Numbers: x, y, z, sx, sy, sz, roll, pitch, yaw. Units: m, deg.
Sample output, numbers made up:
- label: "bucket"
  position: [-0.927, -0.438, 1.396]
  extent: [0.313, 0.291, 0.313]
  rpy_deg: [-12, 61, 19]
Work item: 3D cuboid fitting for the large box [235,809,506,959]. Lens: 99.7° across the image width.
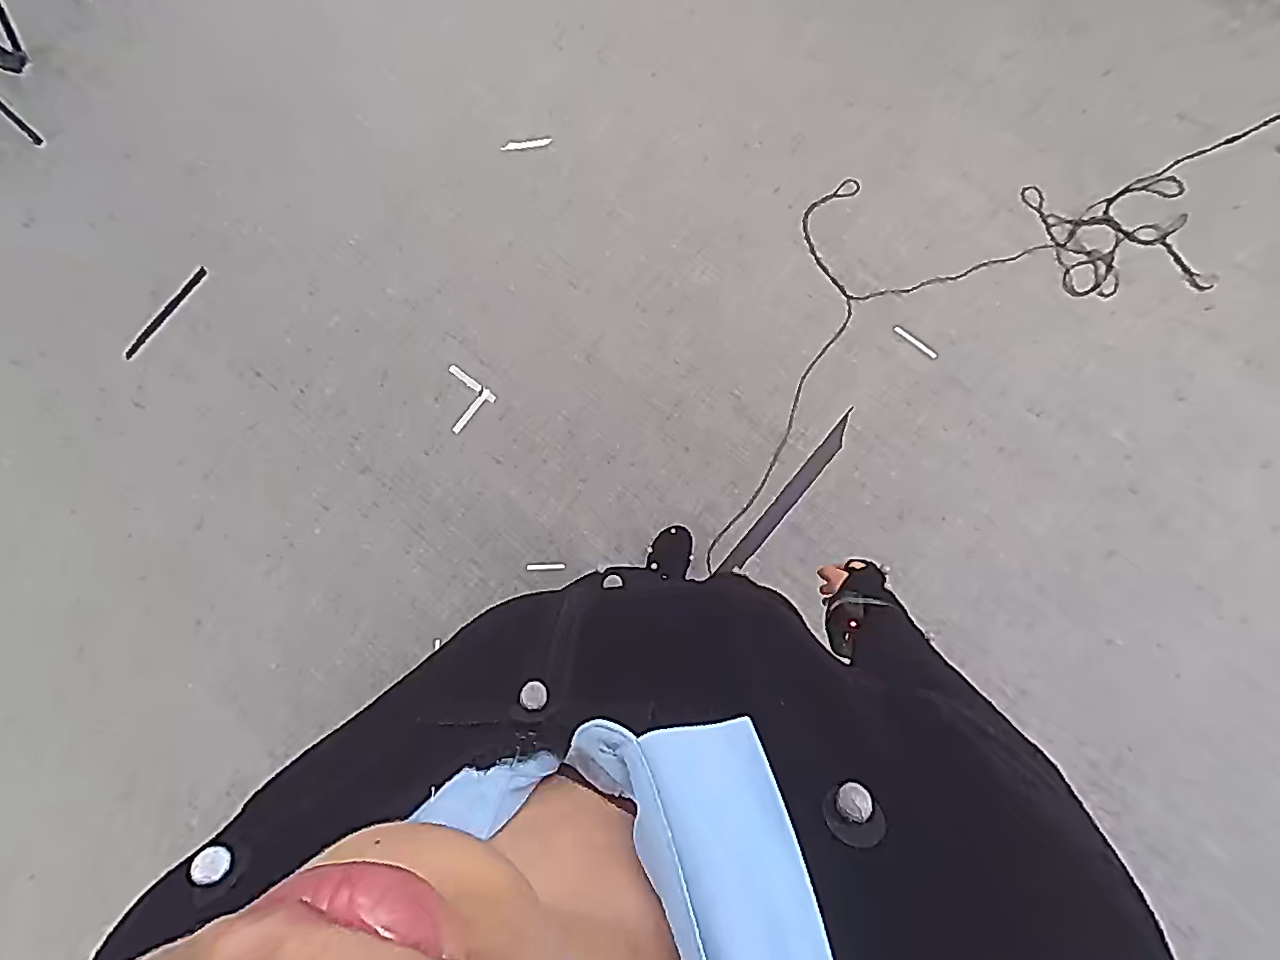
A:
- label: "large box"
  position: [-0.552, 0.985, 1.093]
  extent: [0.408, 0.320, 0.320]
  rpy_deg: [40, 86, 8]
